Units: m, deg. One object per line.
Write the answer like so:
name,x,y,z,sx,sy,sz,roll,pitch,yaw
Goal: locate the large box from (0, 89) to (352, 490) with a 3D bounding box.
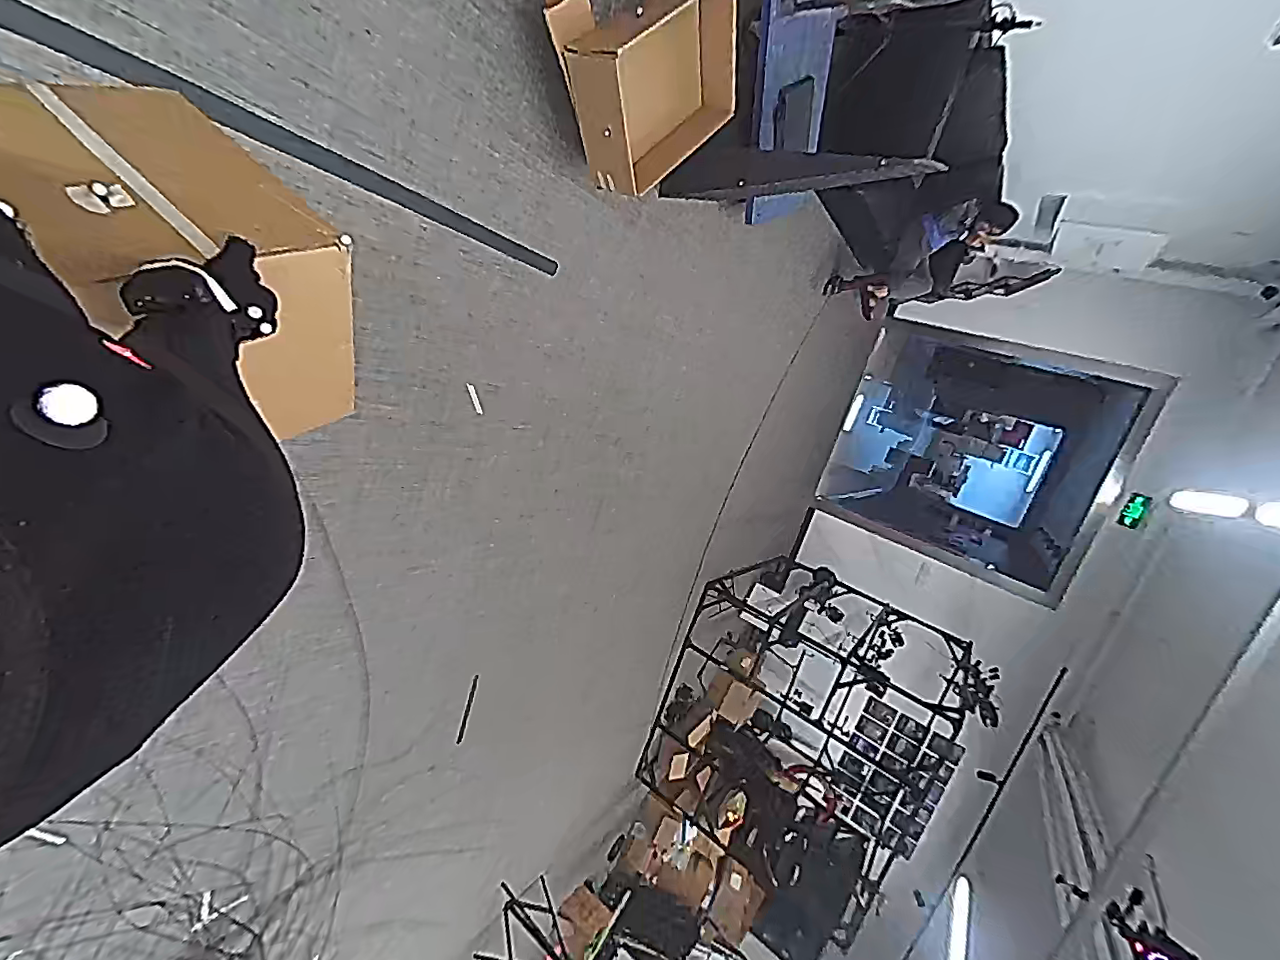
large box,-0.670,-0.266,0.752,0.320,0.408,0.320,-39,166,-43
